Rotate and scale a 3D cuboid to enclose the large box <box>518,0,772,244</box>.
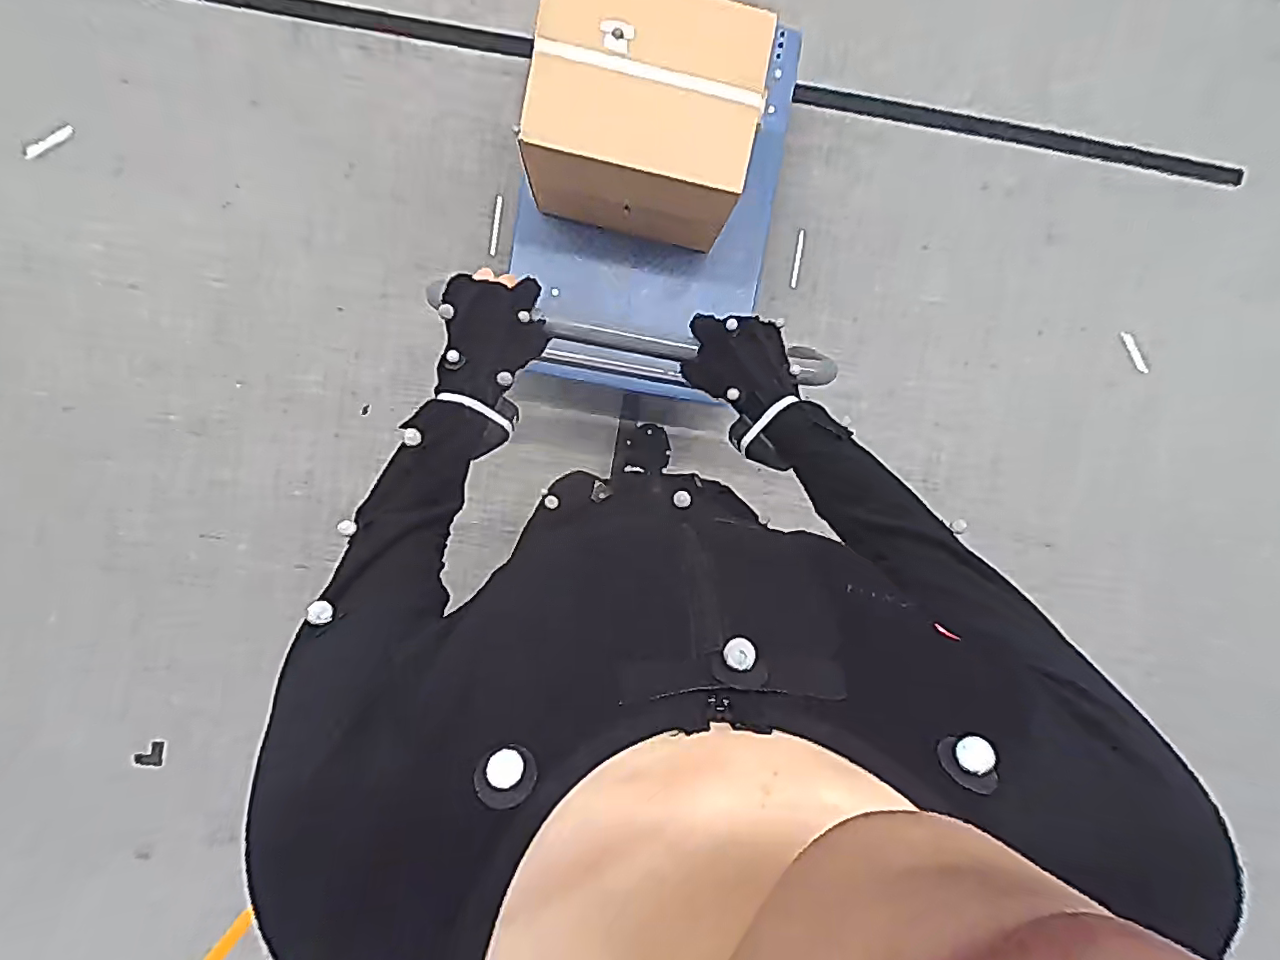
[{"bbox_3d":[0.004,-0.713,1.086,0.408,0.320,0.320,11,94,-4],"label":"large box"}]
